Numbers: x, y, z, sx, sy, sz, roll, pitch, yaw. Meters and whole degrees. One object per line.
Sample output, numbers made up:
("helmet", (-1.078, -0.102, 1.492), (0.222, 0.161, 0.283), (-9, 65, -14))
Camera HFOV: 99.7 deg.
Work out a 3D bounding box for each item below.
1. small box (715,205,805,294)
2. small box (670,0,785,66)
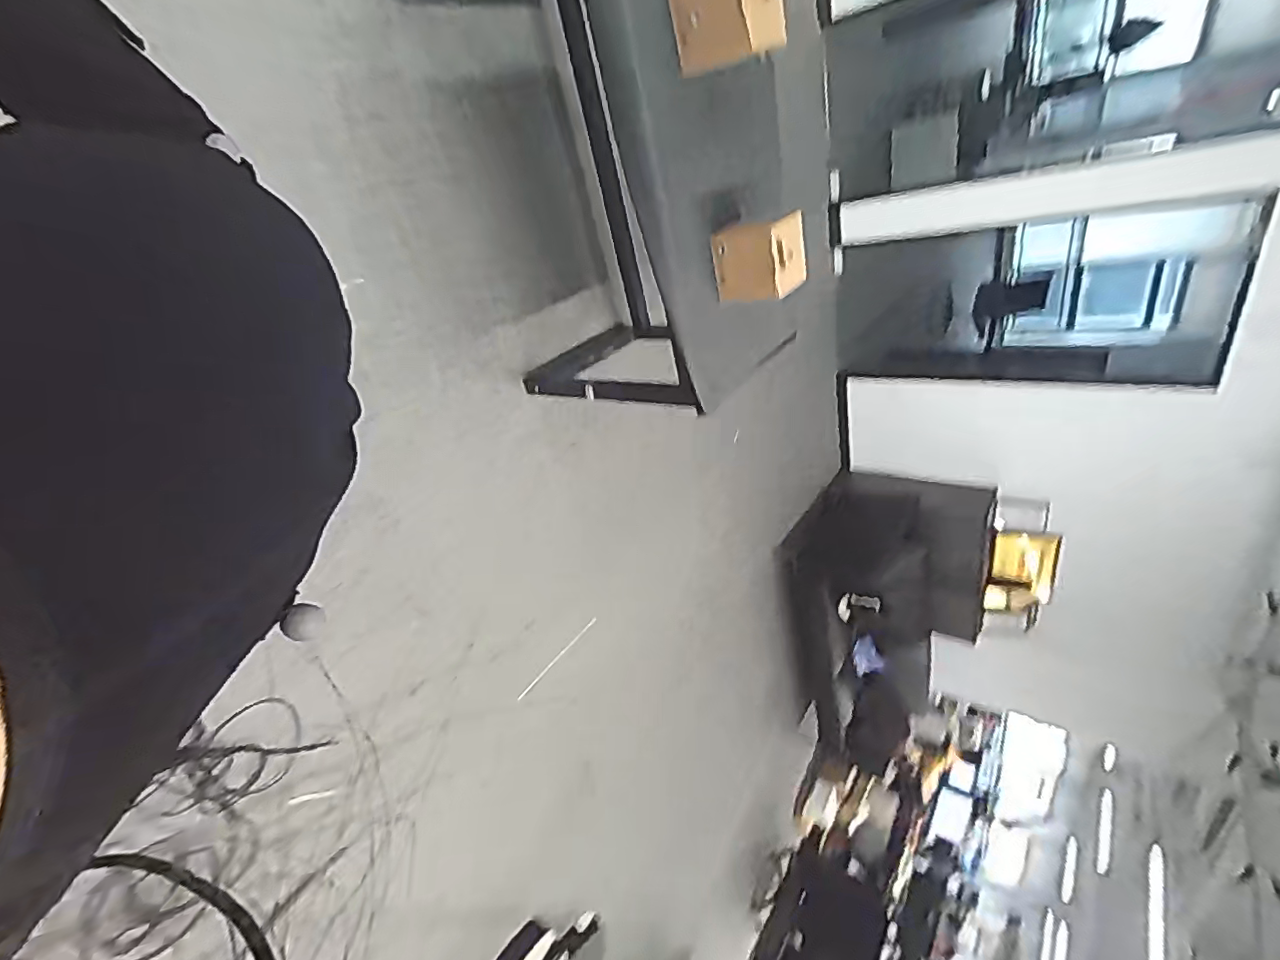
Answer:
("small box", (0.302, -0.583, 1.377), (0.179, 0.176, 0.168), (-43, 130, -38))
("small box", (0.180, -0.992, 1.122), (0.179, 0.176, 0.168), (-46, 131, -35))
